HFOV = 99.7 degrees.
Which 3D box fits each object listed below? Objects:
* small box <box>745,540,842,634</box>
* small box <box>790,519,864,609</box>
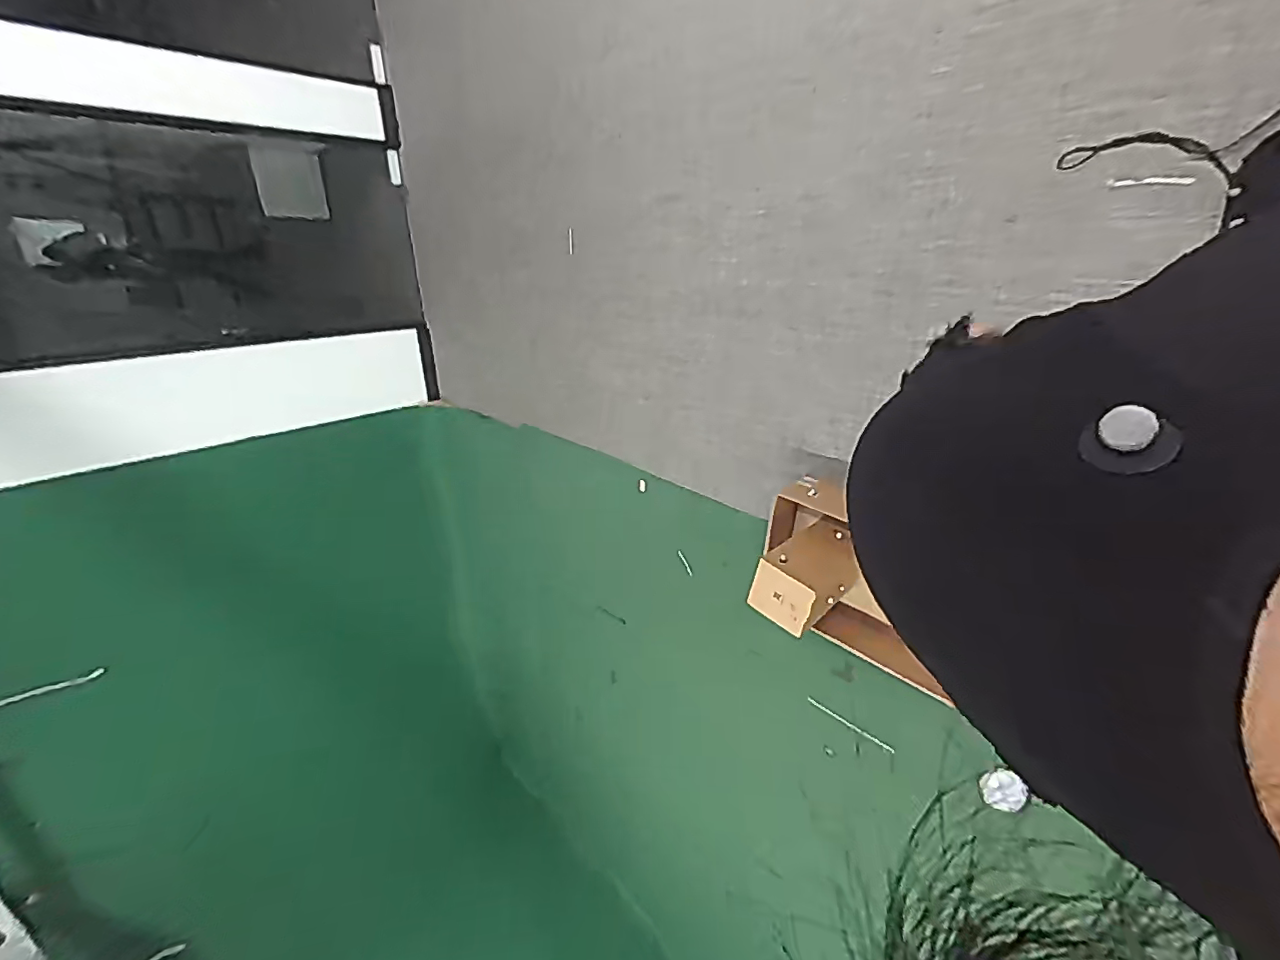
[{"bbox_3d":[0.426,0.286,1.500,0.179,0.176,0.168,31,127,34],"label":"small box"},{"bbox_3d":[0.540,0.244,1.612,0.168,0.176,0.179,31,125,34],"label":"small box"}]
